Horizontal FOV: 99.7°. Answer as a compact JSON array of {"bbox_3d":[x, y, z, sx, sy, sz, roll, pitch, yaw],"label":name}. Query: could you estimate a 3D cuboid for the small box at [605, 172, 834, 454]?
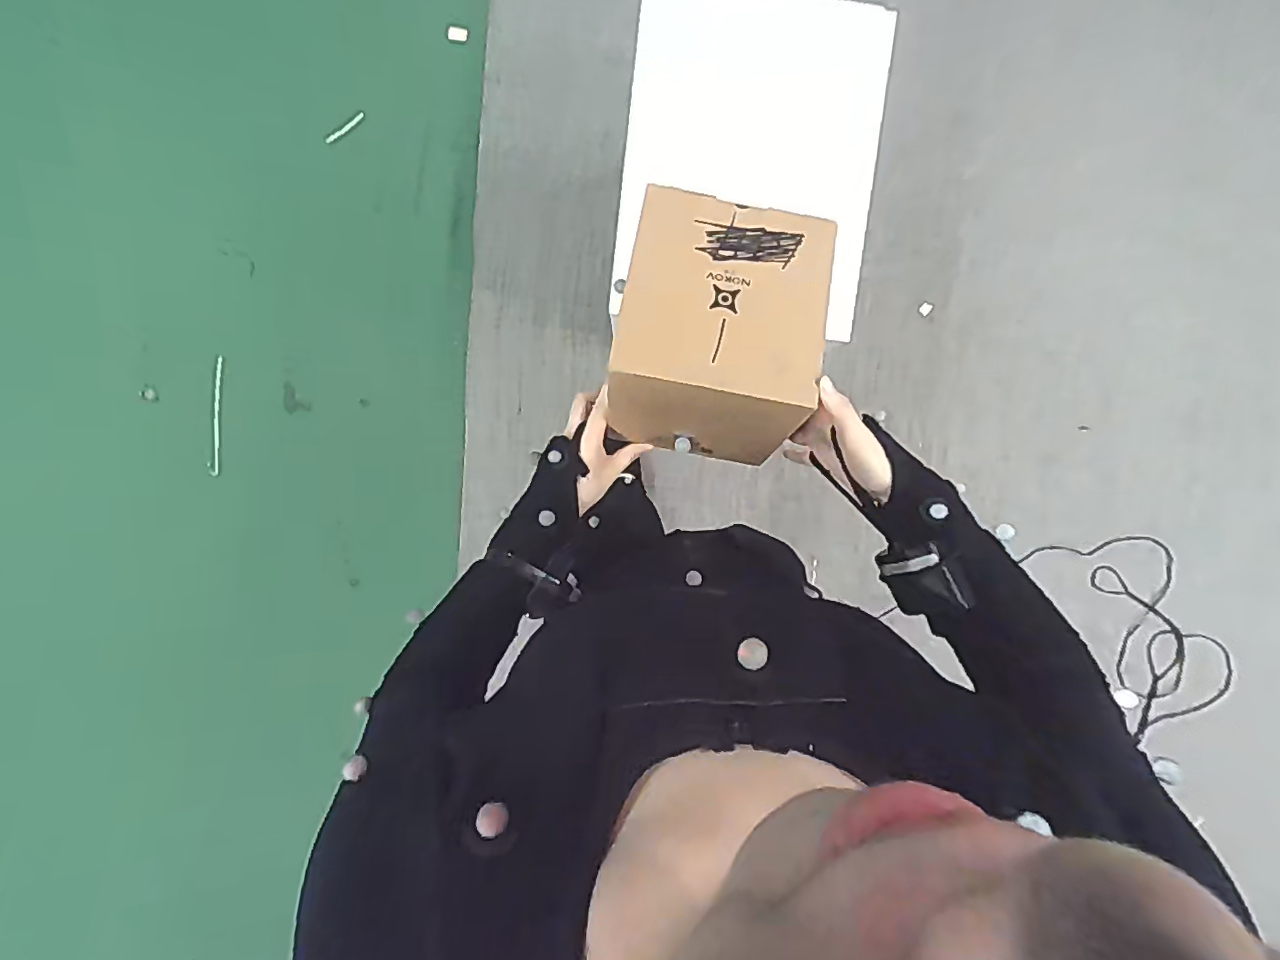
[{"bbox_3d":[0.064,-0.141,0.511,0.168,0.176,0.179,12,77,1],"label":"small box"}]
